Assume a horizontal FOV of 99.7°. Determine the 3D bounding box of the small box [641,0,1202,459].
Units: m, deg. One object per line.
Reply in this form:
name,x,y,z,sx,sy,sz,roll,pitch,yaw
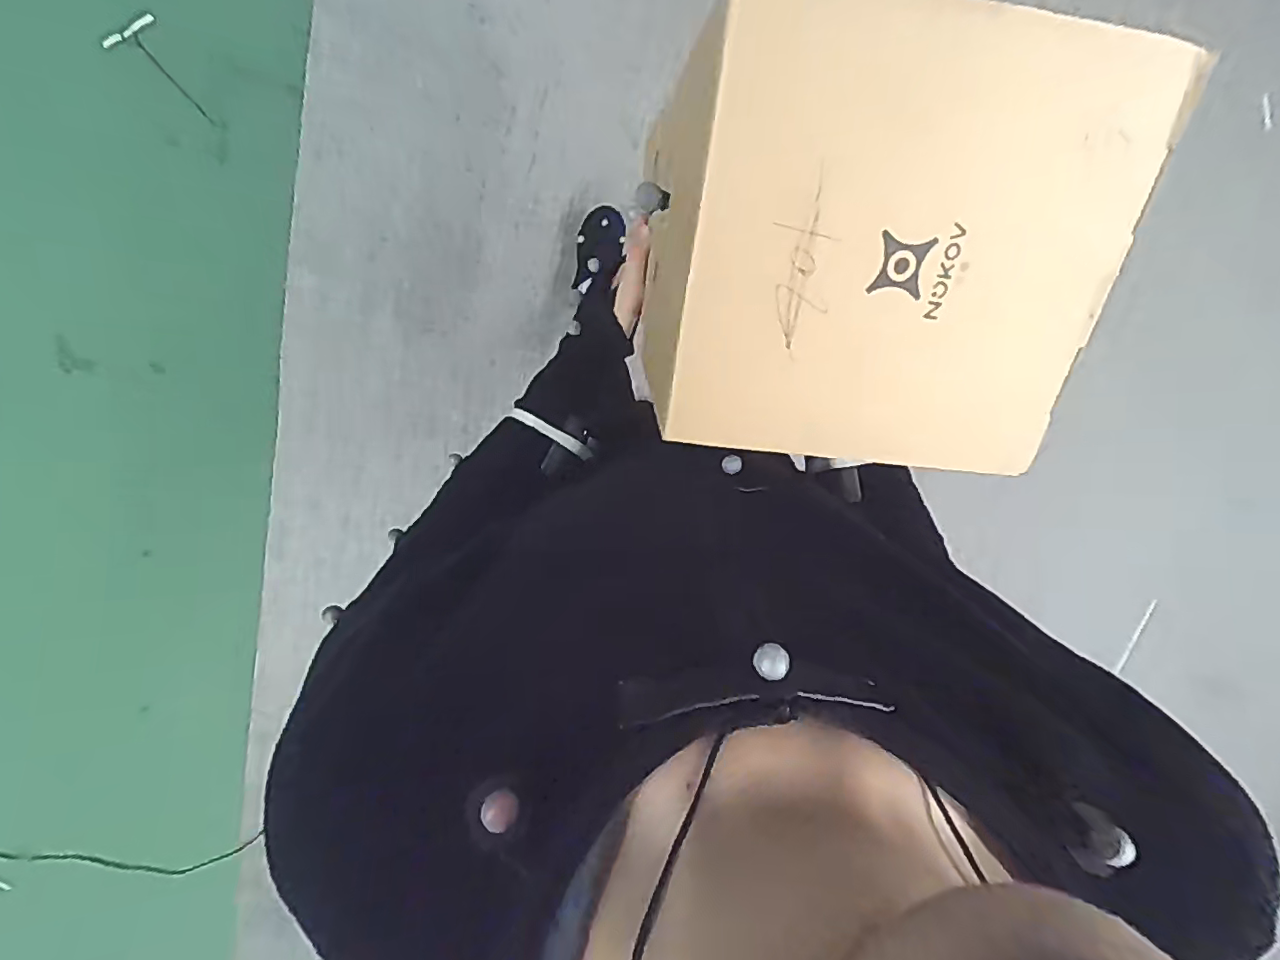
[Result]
small box,0.100,-0.125,0.287,0.179,0.176,0.168,6,114,-5
